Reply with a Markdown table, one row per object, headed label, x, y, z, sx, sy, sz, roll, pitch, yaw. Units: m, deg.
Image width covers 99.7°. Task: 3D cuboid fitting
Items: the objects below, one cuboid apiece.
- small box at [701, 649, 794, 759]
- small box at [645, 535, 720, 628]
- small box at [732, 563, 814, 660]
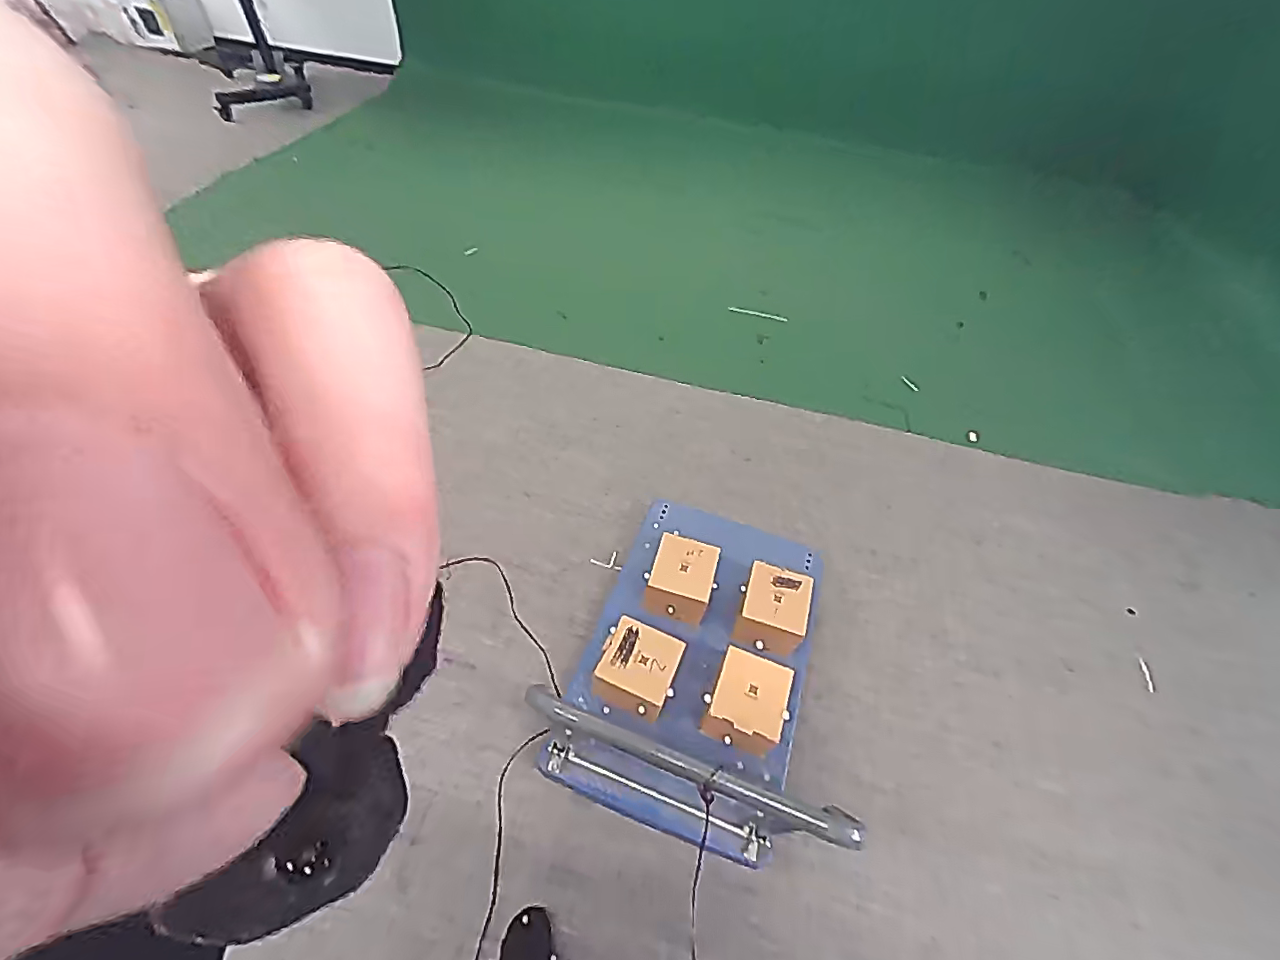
| label | x | y | z | sx | sy | sz | roll | pitch | yaw |
| --- | --- | --- | --- | --- | --- | --- | --- | --- | --- |
| small box | 0.258 | 0.550 | 1.322 | 0.168 | 0.176 | 0.179 | 19 | 53 | 10 |
| small box | 0.115 | 0.289 | 1.514 | 0.168 | 0.176 | 0.179 | 16 | 52 | 7 |
| small box | 0.359 | 0.362 | 1.476 | 0.168 | 0.176 | 0.179 | 16 | 53 | 9 |
